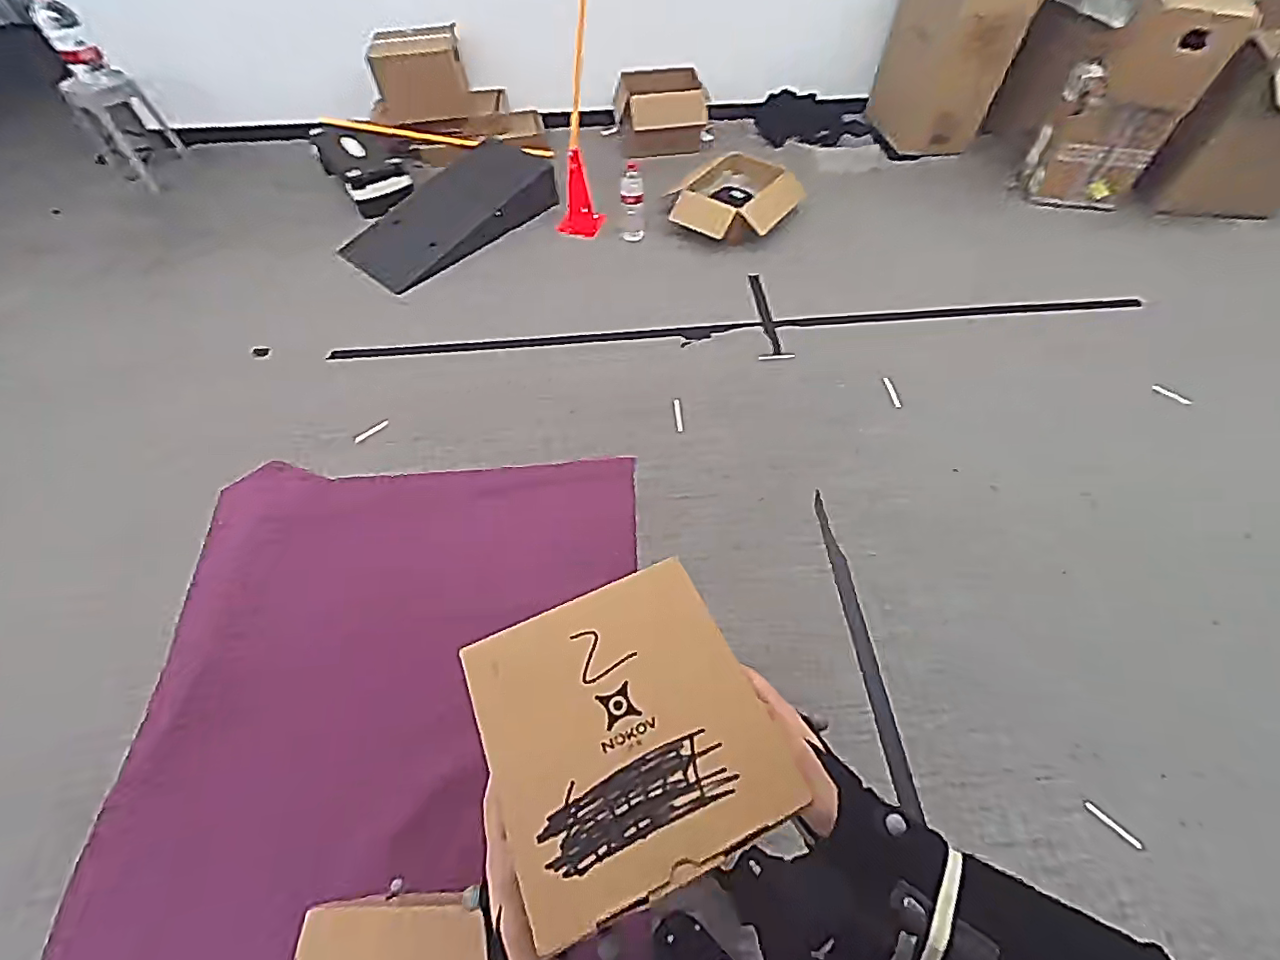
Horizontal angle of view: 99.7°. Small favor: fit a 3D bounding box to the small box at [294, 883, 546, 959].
[{"bbox_3d":[-0.188,0.461,0.471,0.179,0.176,0.168,-1,56,-1],"label":"small box"}]
